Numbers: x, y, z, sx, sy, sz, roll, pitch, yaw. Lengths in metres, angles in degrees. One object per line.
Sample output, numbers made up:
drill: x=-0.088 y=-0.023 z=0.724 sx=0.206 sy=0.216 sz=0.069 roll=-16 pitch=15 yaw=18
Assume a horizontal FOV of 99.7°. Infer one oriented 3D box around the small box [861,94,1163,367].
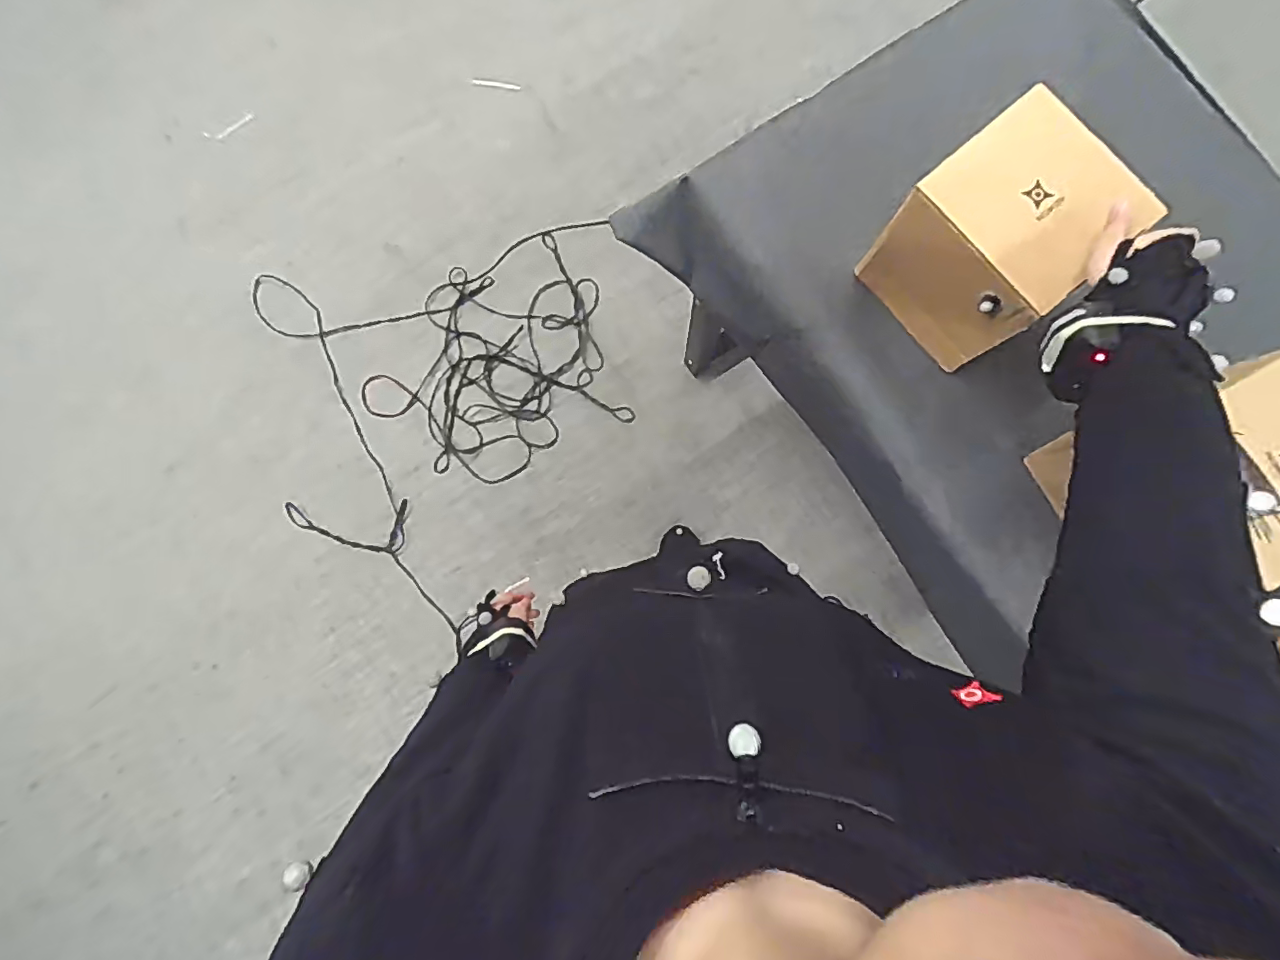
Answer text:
small box: x=0.382 y=-0.255 z=0.595 sx=0.168 sy=0.176 sz=0.179 roll=-40 pitch=85 yaw=-4
